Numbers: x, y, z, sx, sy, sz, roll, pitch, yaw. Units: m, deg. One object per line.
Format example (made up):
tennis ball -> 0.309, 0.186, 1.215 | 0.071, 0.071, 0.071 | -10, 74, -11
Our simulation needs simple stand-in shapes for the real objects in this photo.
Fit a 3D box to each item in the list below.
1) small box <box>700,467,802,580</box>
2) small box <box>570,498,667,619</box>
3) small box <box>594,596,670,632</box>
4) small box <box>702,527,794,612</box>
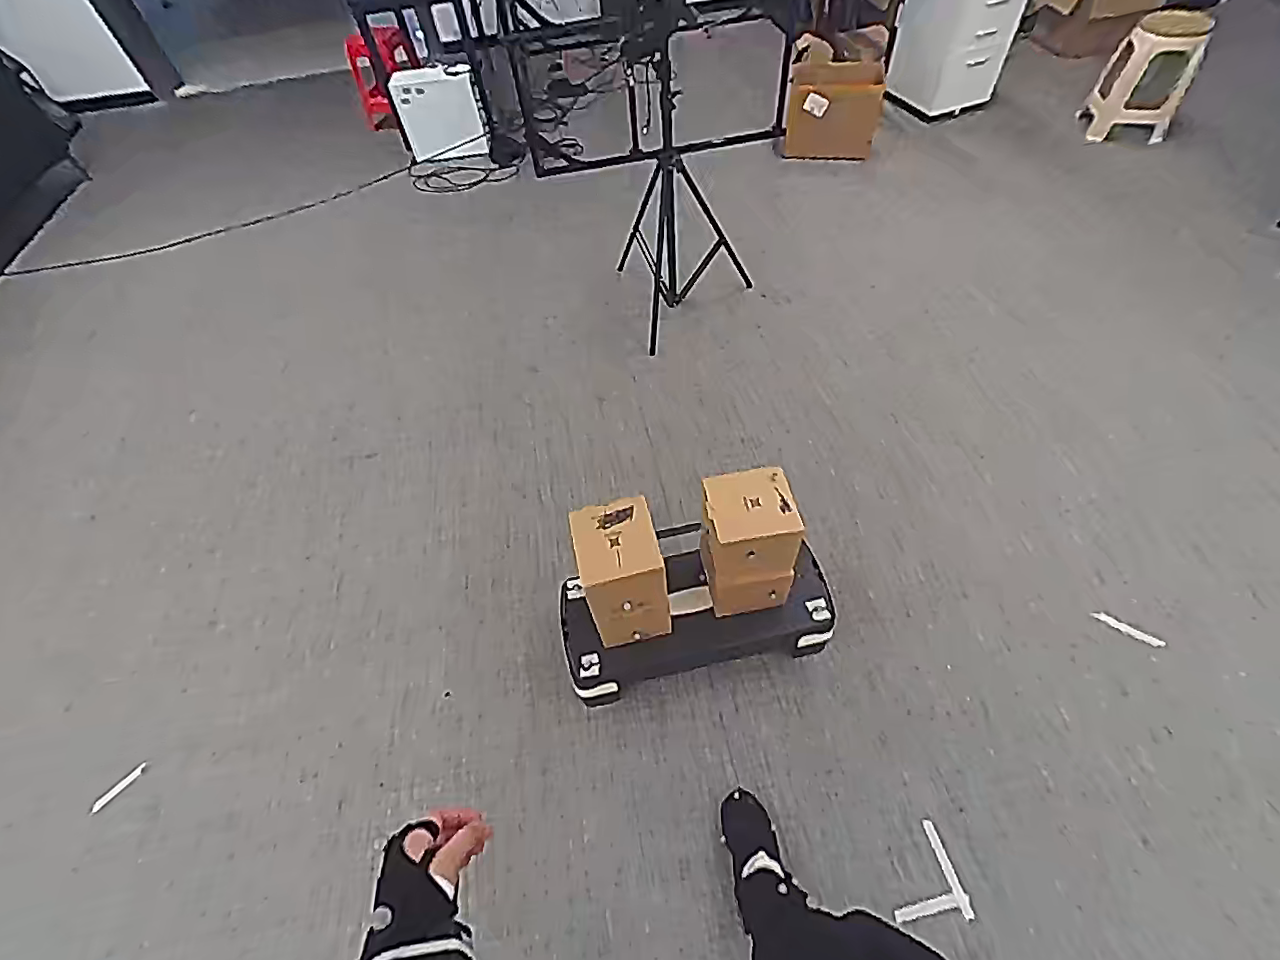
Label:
small box -> 0.232, 0.099, 1.166 | 0.179, 0.176, 0.168 | -10, 54, 0
small box -> -0.044, 0.168, 1.139 | 0.168, 0.176, 0.179 | -13, 54, -4
small box -> -0.028, 0.268, 1.269 | 0.168, 0.176, 0.179 | -12, 54, -3
small box -> 0.246, 0.208, 1.287 | 0.179, 0.176, 0.168 | -11, 54, -1
